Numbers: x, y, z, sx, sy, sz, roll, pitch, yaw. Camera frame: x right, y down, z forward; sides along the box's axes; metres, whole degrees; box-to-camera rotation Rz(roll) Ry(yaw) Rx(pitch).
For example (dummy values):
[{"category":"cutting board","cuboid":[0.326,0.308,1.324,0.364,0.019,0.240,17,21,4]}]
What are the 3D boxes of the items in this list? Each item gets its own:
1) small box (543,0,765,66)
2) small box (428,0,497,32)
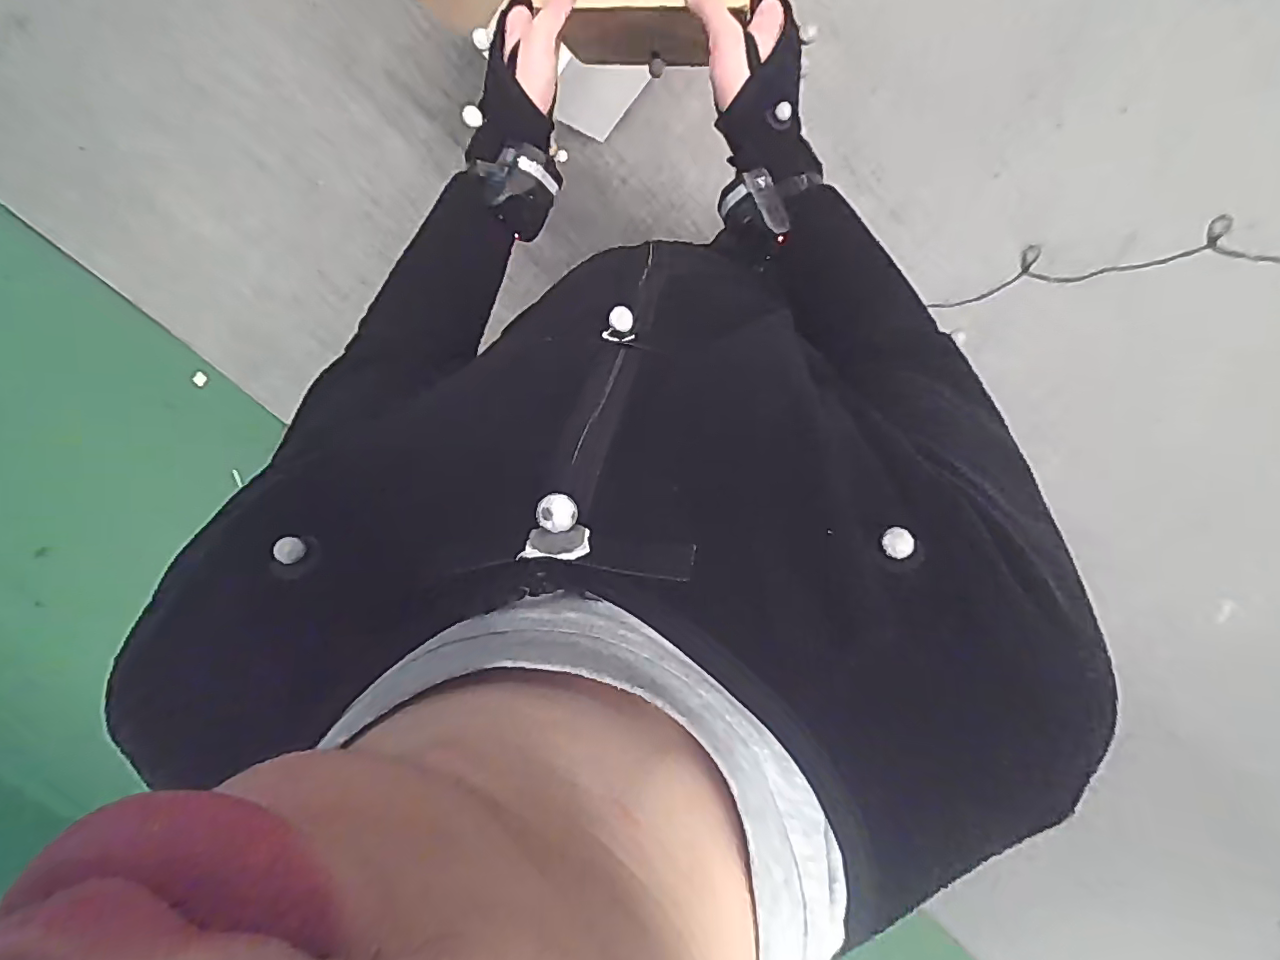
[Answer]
[{"category":"small box","cuboid":[0.021,-0.475,0.458,0.179,0.176,0.168,5,115,5]},{"category":"small box","cuboid":[-0.225,-0.649,0.589,0.168,0.176,0.179,42,112,-16]}]
